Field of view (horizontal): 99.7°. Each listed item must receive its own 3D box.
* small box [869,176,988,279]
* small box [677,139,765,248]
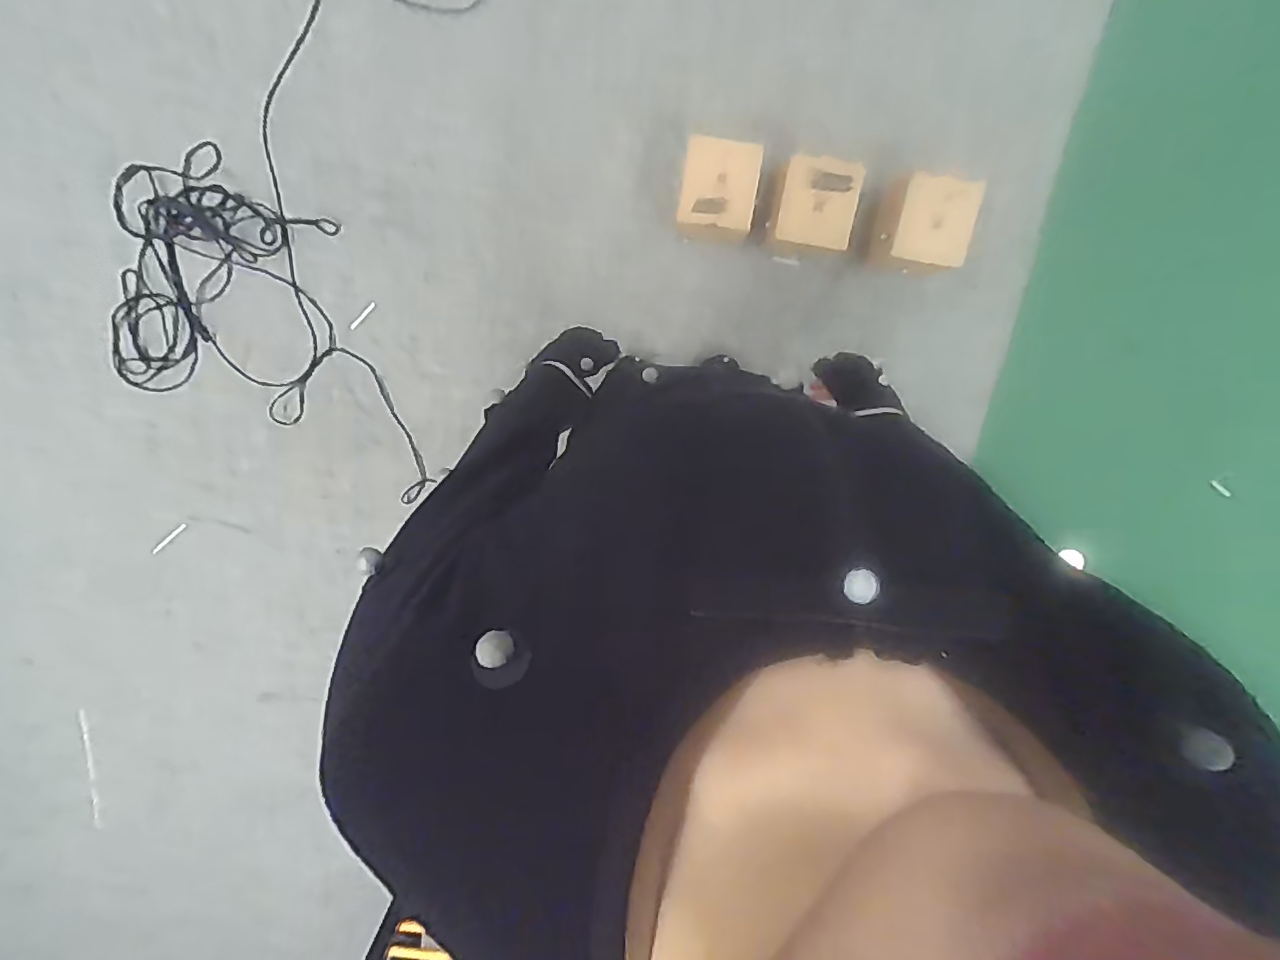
[{"bbox_3d":[0.654,-0.573,1.253,0.168,0.176,0.179,9,103,-1],"label":"small box"},{"bbox_3d":[0.179,-0.647,1.245,0.168,0.176,0.179,8,102,0],"label":"small box"}]
